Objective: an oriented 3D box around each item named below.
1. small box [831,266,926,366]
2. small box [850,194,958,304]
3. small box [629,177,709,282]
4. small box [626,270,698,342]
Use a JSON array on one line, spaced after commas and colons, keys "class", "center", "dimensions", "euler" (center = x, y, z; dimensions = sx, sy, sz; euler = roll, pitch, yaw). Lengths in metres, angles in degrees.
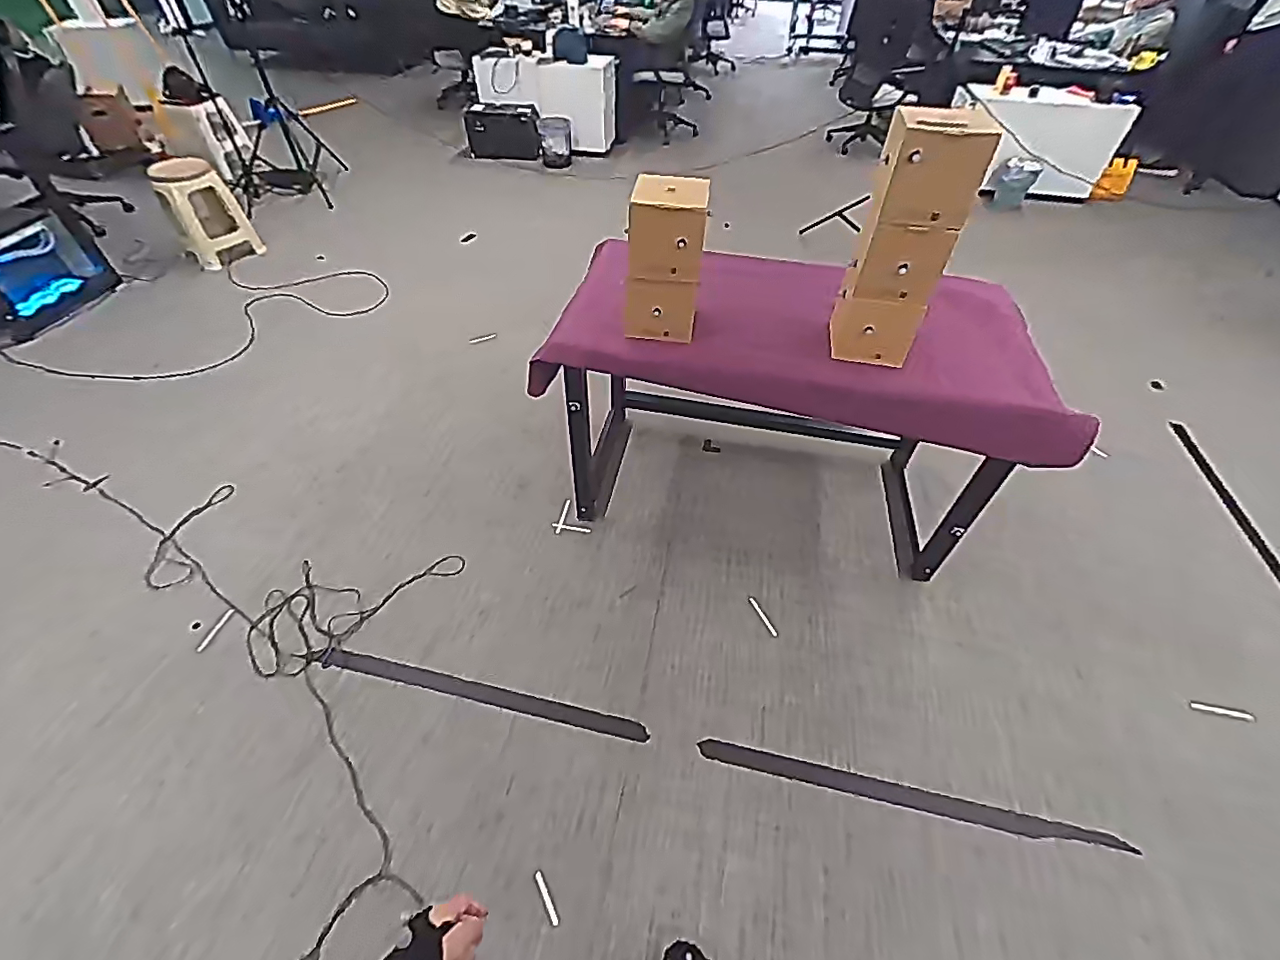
[{"class": "small box", "center": [0.572, -0.399, 1.323], "dimensions": [0.168, 0.176, 0.179], "euler": [9, 47, 7]}, {"class": "small box", "center": [0.577, -0.513, 1.205], "dimensions": [0.168, 0.176, 0.179], "euler": [10, 48, 8]}, {"class": "small box", "center": [0.065, -0.572, 1.240], "dimensions": [0.168, 0.176, 0.179], "euler": [6, 46, 2]}, {"class": "small box", "center": [0.059, -0.468, 1.365], "dimensions": [0.168, 0.176, 0.179], "euler": [7, 47, 4]}]
